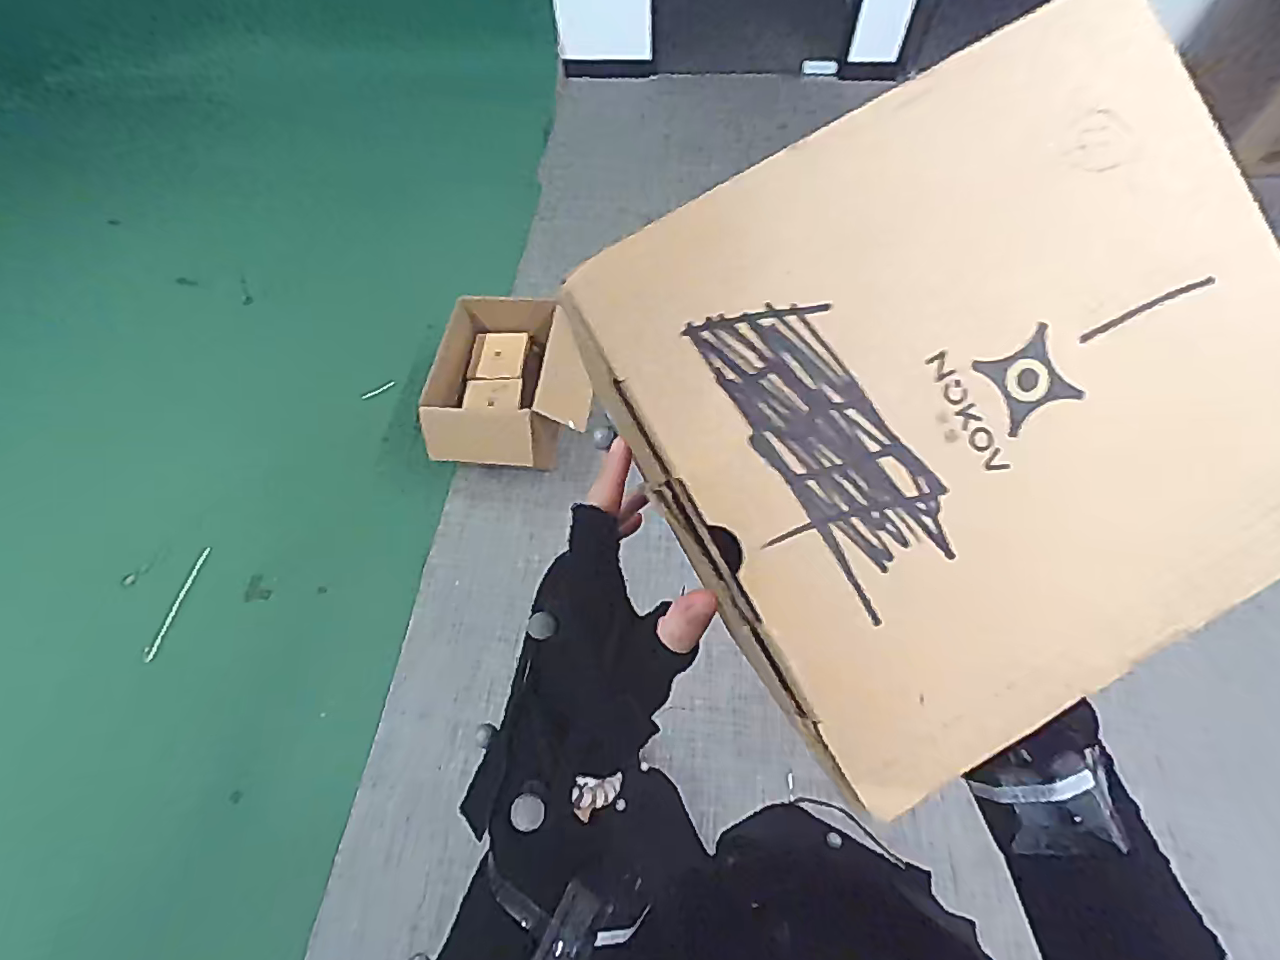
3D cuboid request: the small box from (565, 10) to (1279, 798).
[{"bbox_3d":[0.090,-0.021,0.231,0.179,0.176,0.168,-29,92,-1],"label":"small box"}]
